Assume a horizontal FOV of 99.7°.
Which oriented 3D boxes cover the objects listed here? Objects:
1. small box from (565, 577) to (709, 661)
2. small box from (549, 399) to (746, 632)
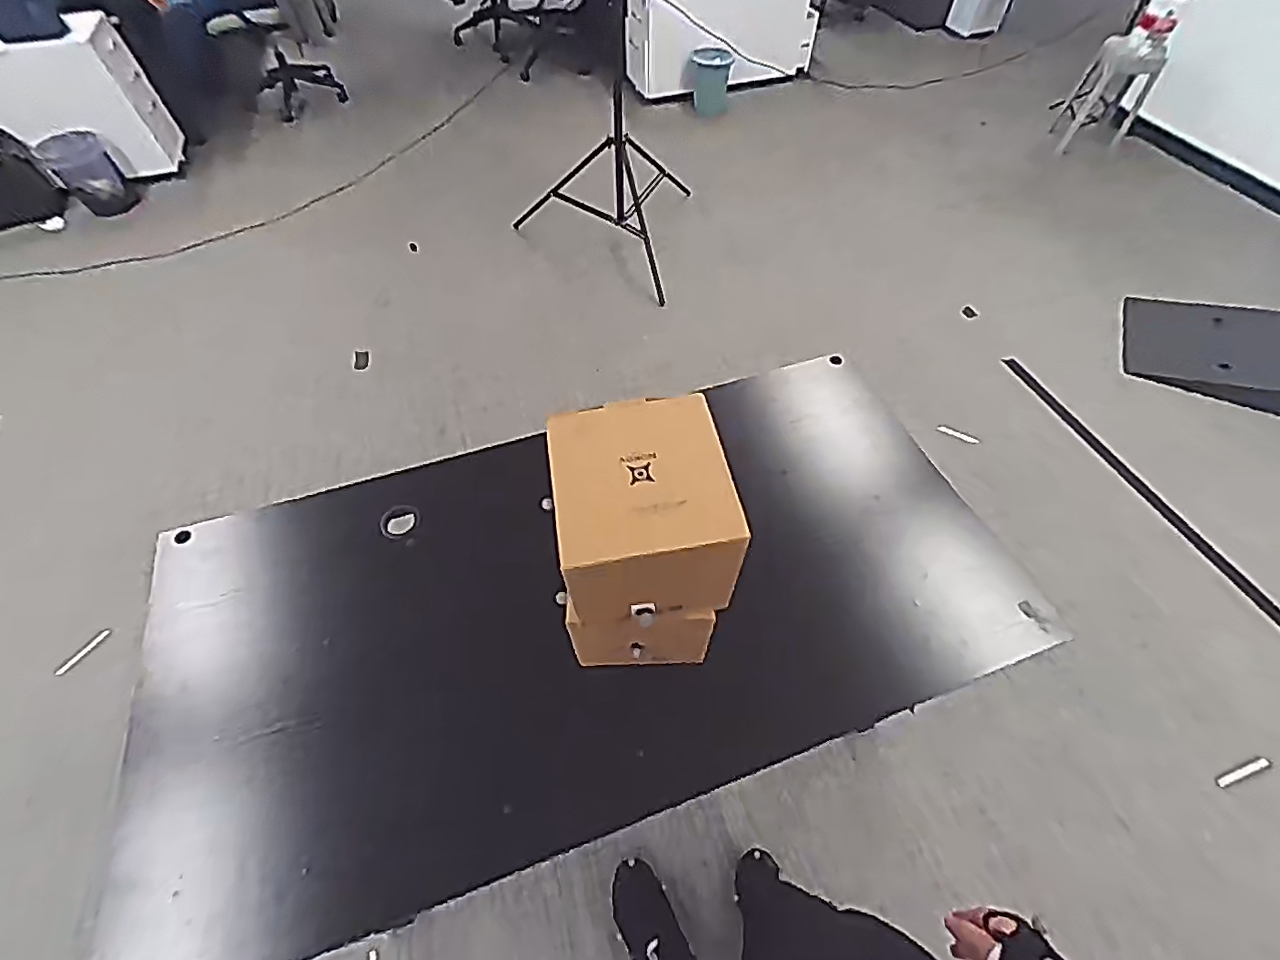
[{"bbox_3d":[-0.003,0.134,0.714,0.168,0.176,0.179,-1,55,-1],"label":"small box"},{"bbox_3d":[0.001,0.042,0.580,0.168,0.176,0.179,-10,57,-5],"label":"small box"}]
